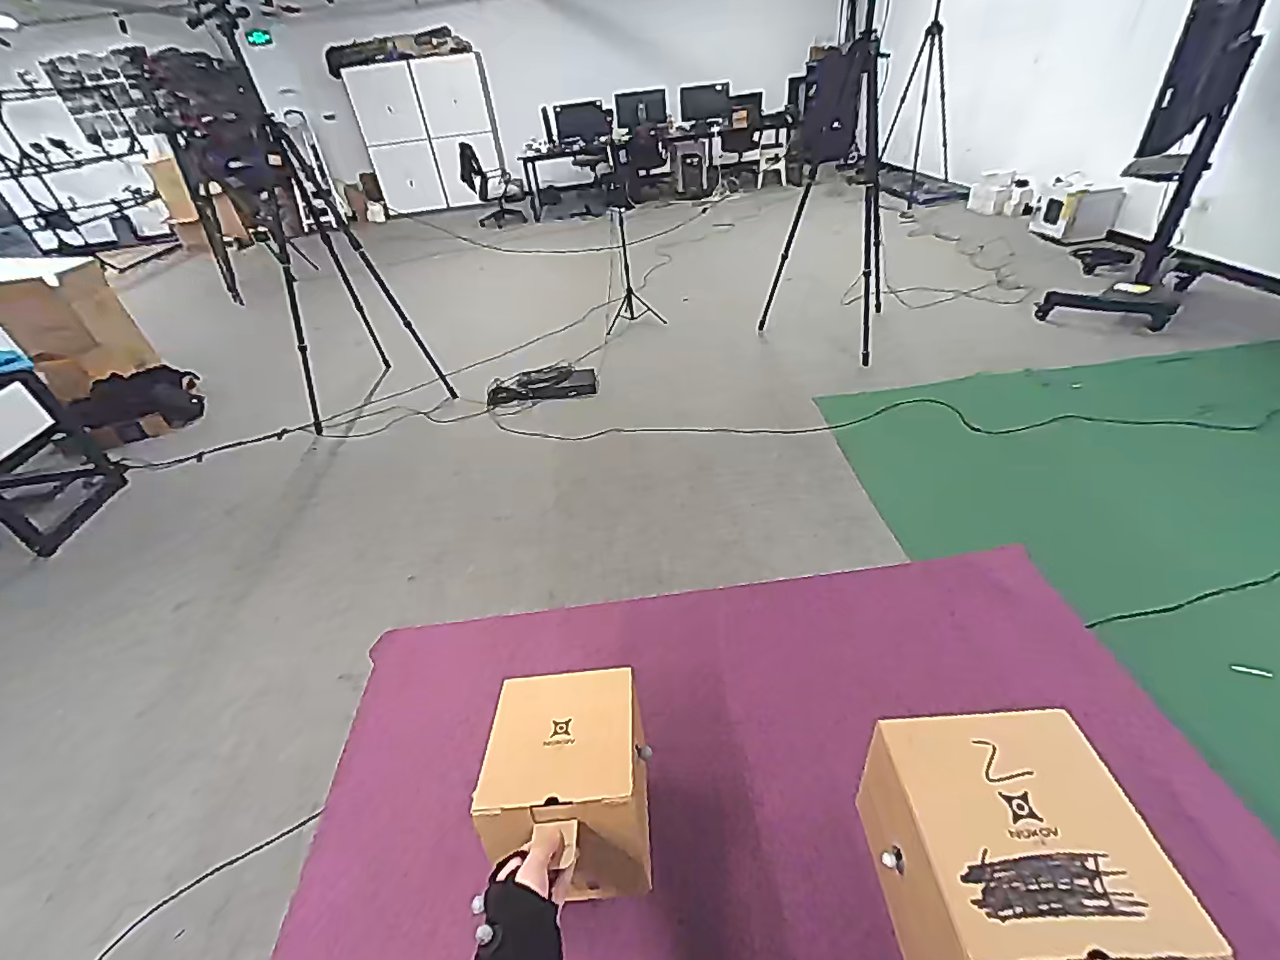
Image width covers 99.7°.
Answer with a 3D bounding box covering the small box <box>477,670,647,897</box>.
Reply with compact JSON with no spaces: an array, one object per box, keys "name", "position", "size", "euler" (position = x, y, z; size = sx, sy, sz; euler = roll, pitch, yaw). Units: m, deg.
[{"name":"small box","position":[-0.082,0.365,0.665],"size":[0.168,0.176,0.179],"euler":[-7,26,2]}]
